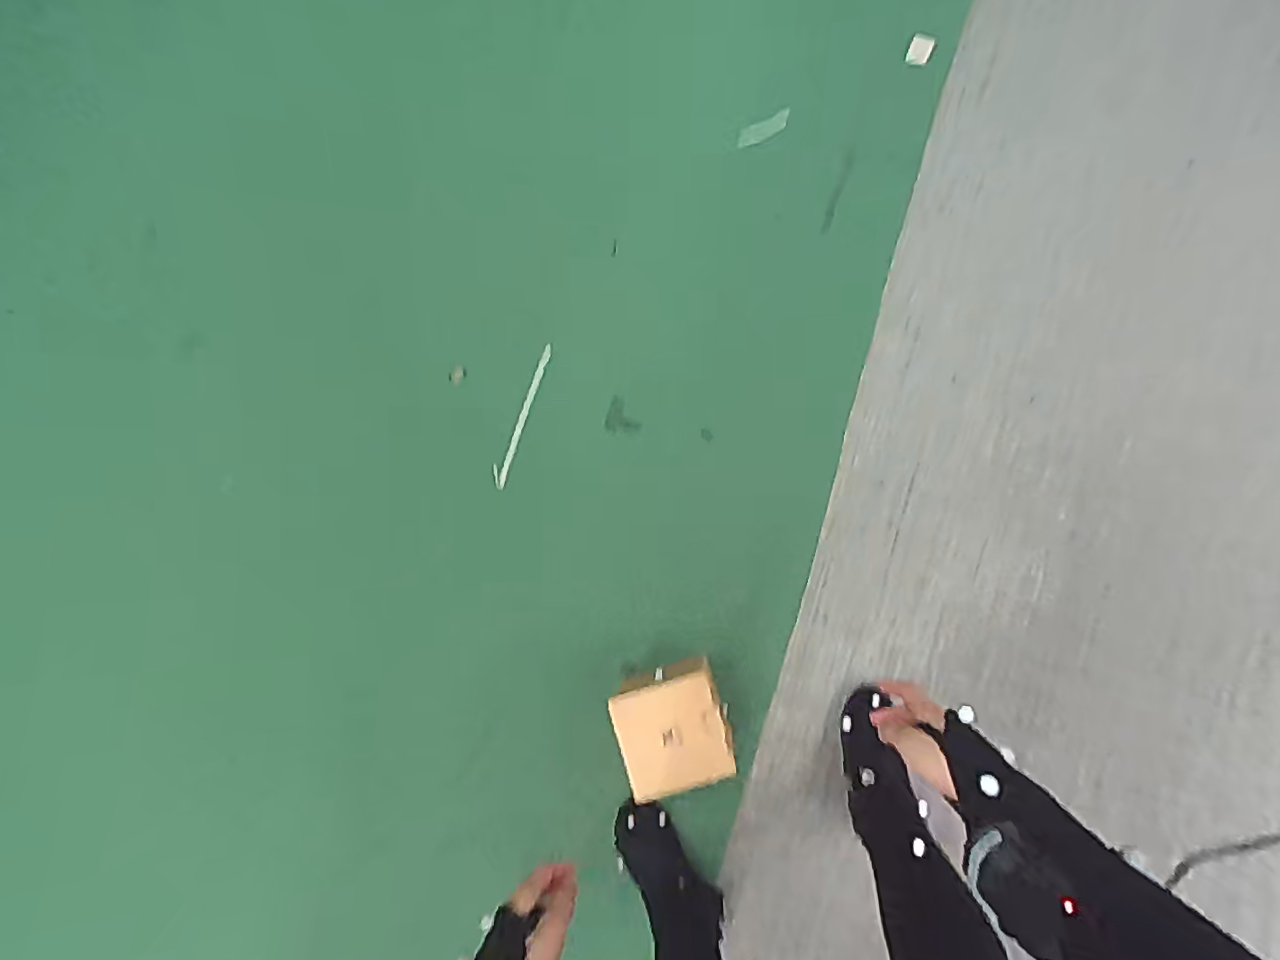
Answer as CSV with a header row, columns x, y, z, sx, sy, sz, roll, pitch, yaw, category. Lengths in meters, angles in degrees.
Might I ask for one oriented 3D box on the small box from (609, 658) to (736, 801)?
x,y,z,sx,sy,sz,roll,pitch,yaw,category
0.060,0.437,0.973,0.179,0.176,0.168,-19,81,2,small box
